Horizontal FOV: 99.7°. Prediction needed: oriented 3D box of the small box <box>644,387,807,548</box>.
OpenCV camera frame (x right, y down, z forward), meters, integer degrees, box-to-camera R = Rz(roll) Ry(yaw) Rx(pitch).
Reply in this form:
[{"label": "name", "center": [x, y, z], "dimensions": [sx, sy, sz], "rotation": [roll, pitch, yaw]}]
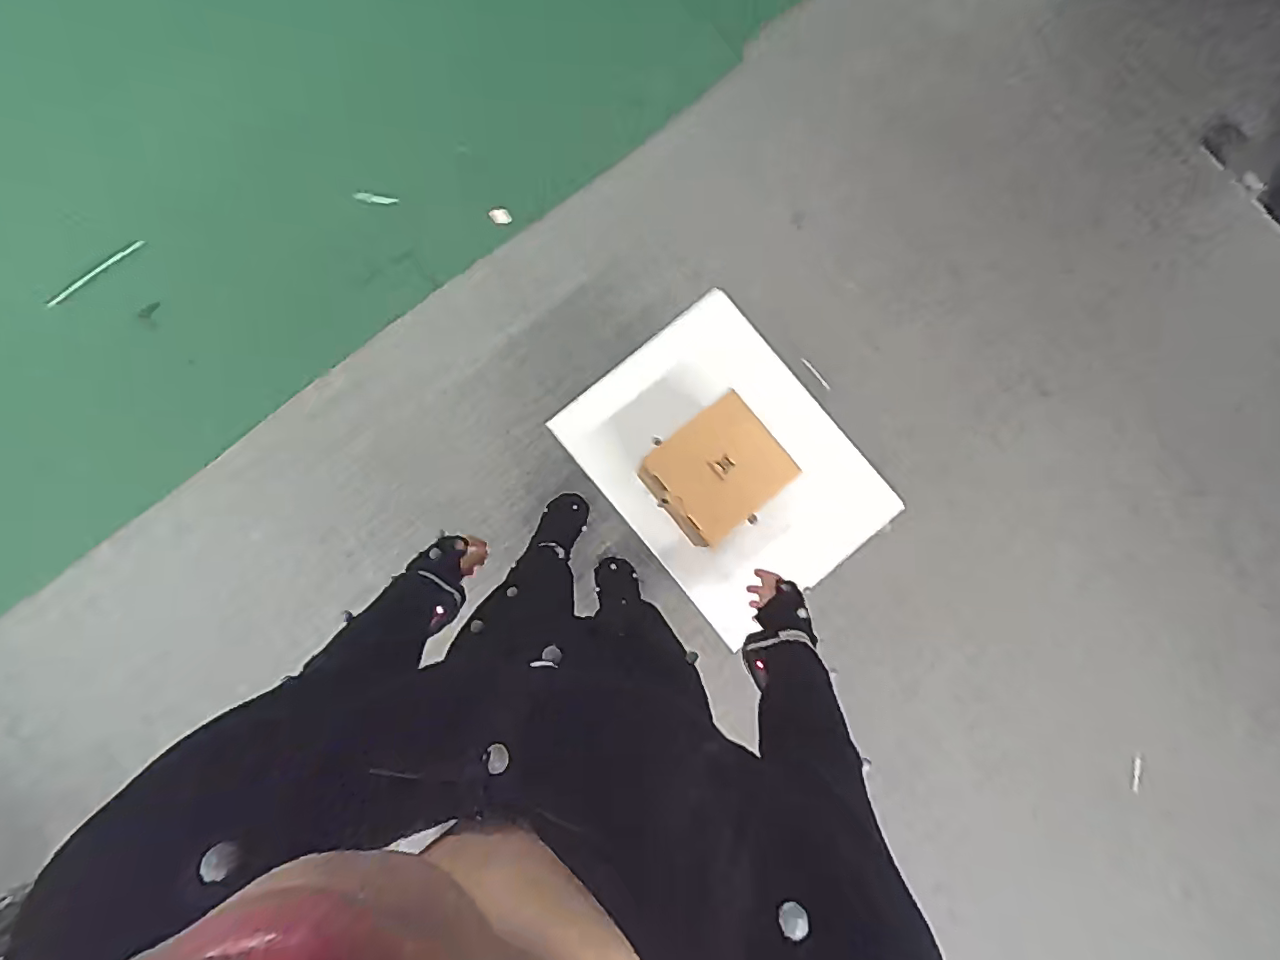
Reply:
[{"label": "small box", "center": [0.120, -0.013, 0.844], "dimensions": [0.179, 0.176, 0.168], "rotation": [-39, 87, -5]}]
